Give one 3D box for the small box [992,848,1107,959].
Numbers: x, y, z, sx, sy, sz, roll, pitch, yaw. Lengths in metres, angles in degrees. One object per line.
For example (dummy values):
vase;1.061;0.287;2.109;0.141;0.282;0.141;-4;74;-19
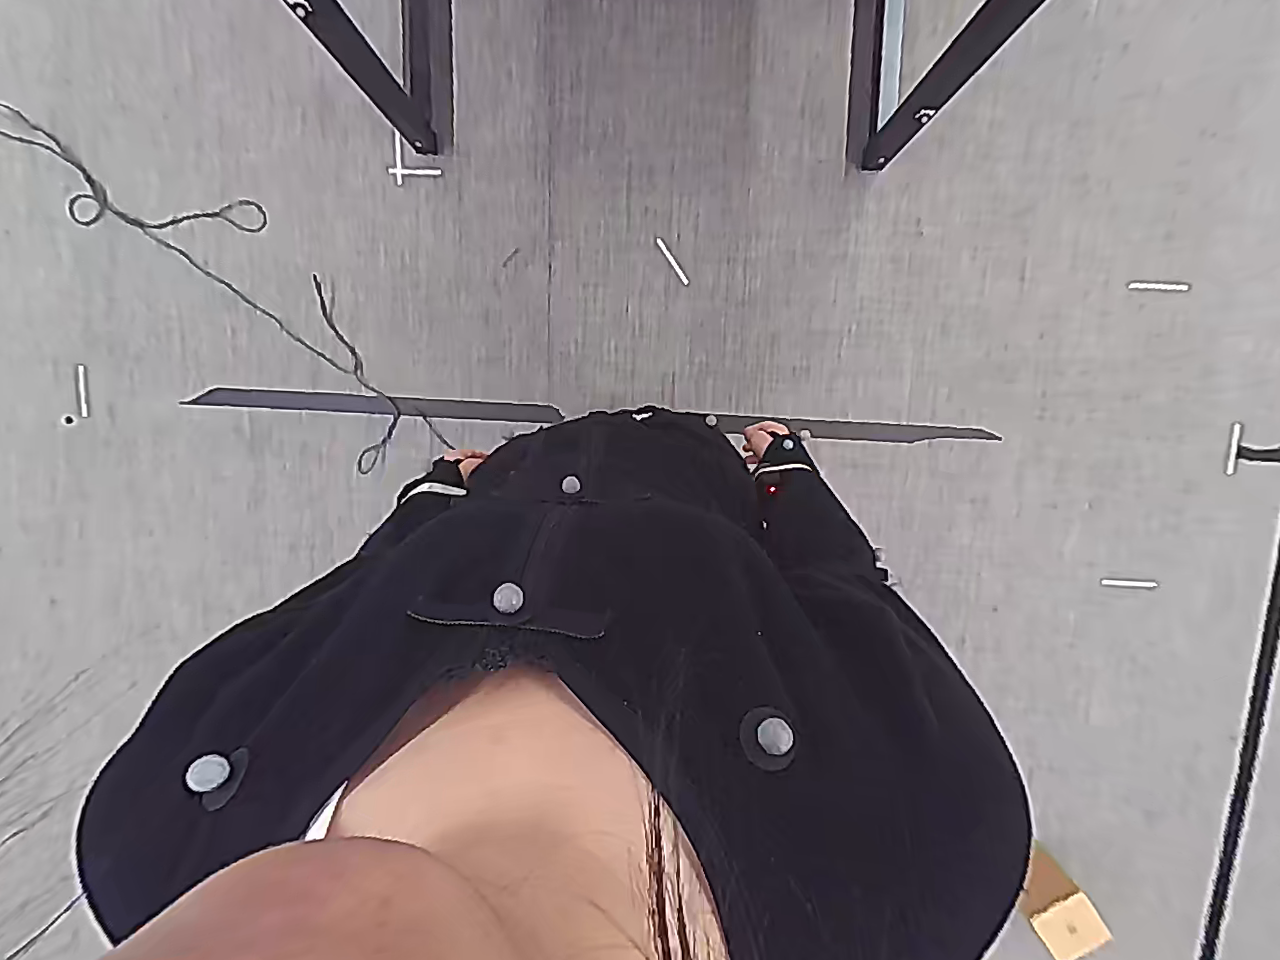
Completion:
small box;1.170;1.209;1.560;0.168;0.176;0.179;-35;97;5
